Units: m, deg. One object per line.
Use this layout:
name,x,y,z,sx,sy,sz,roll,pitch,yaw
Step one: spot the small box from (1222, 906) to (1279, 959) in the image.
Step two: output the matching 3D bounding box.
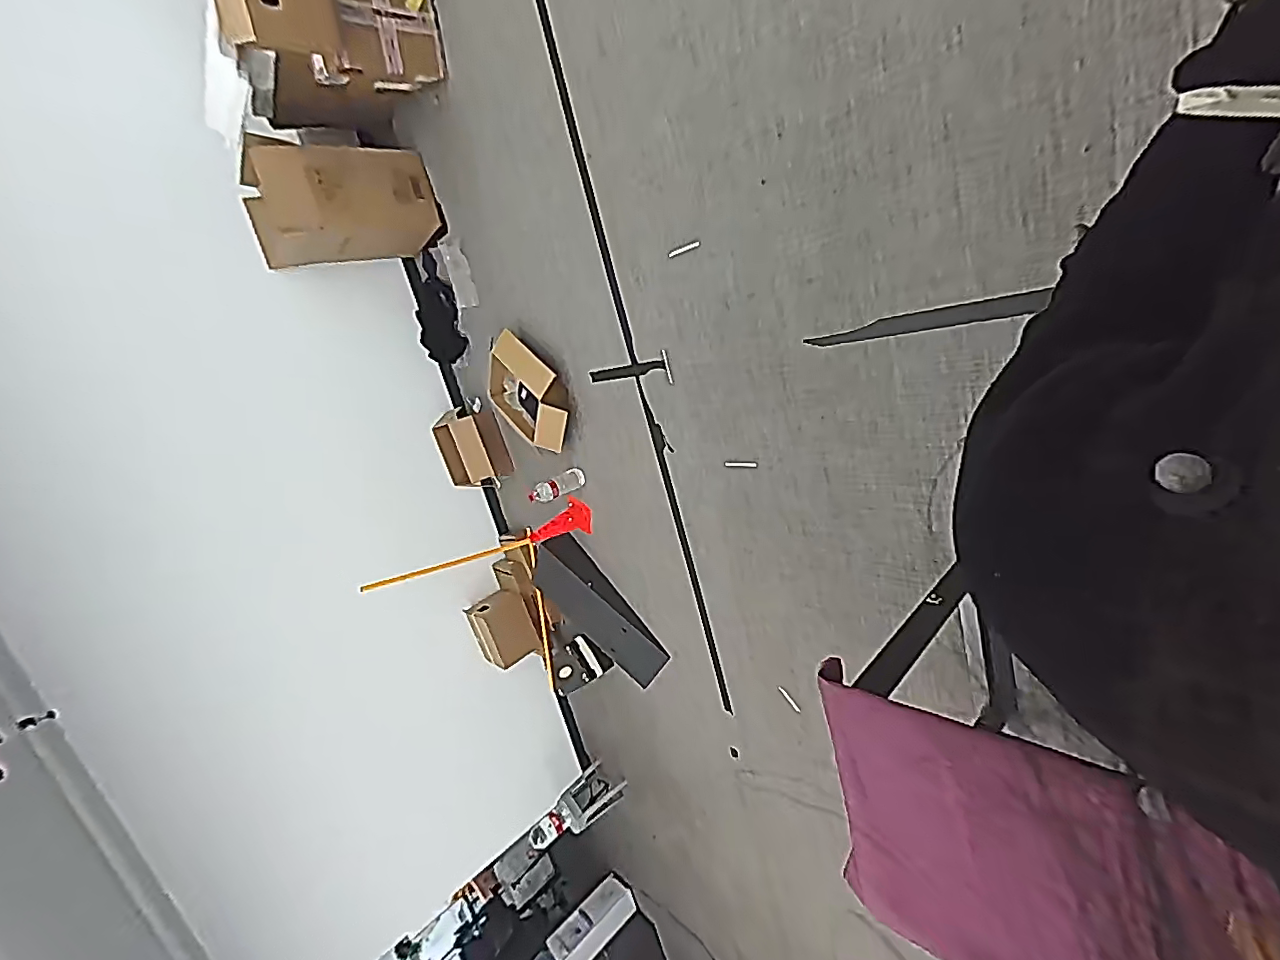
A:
small box,0.781,0.657,0.614,0.168,0.176,0.179,6,117,49
